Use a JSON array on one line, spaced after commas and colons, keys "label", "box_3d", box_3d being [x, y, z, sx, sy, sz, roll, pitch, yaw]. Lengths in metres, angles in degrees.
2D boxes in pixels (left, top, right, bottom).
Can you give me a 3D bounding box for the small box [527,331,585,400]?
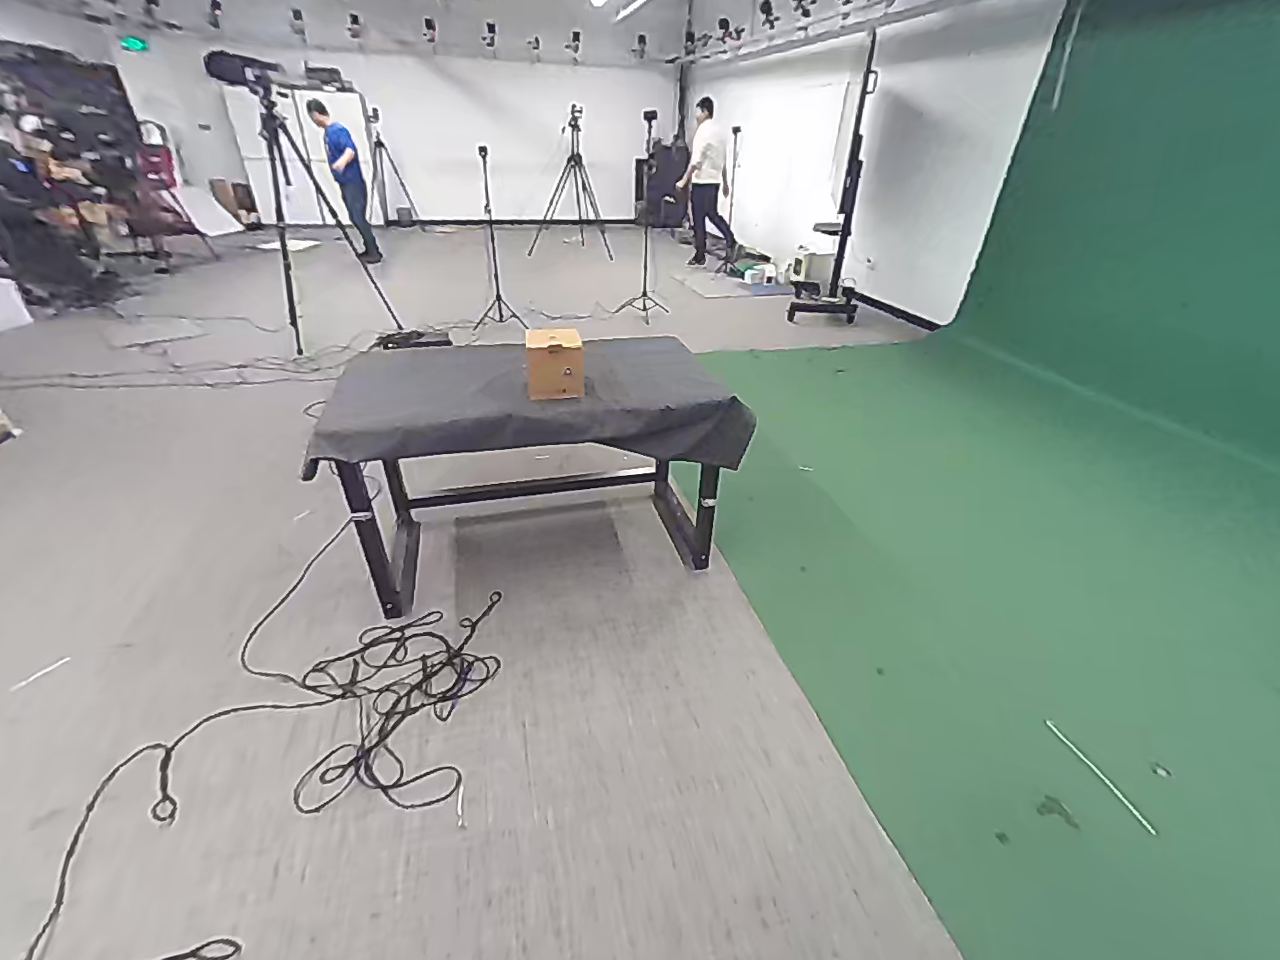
[{"label": "small box", "box_3d": [-0.262, -0.354, 1.676, 0.168, 0.176, 0.179, -4, 31, -11]}]
